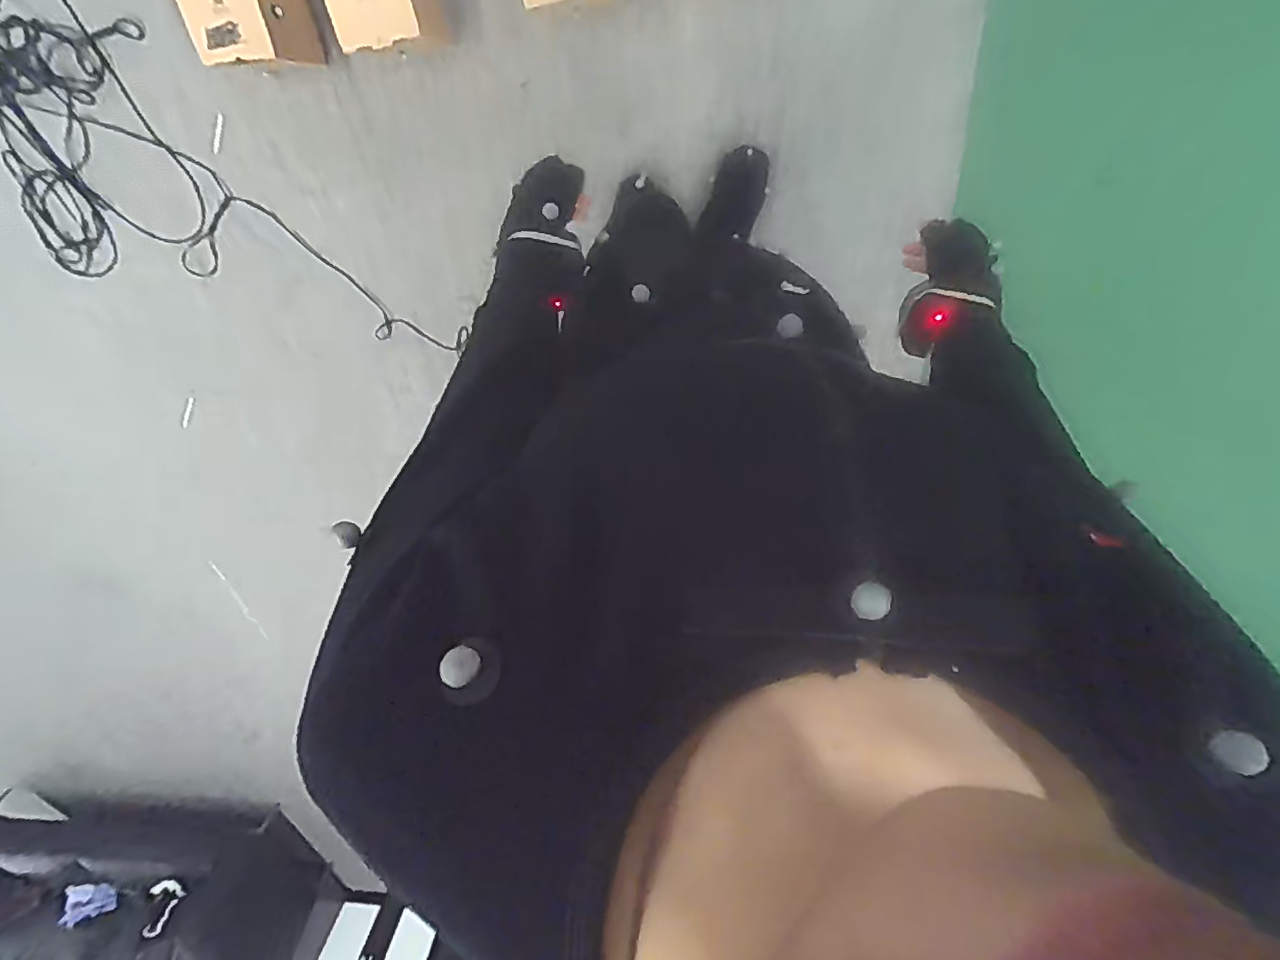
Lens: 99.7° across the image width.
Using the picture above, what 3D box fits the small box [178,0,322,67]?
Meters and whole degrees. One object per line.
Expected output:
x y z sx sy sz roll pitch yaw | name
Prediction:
-0.773 -0.934 1.069 0.168 0.176 0.179 1 123 7 | small box

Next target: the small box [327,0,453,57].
-0.485 -0.936 1.030 0.168 0.176 0.179 -3 124 10 | small box

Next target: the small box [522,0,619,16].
-0.132 -0.959 0.964 0.168 0.176 0.179 -5 123 10 | small box
